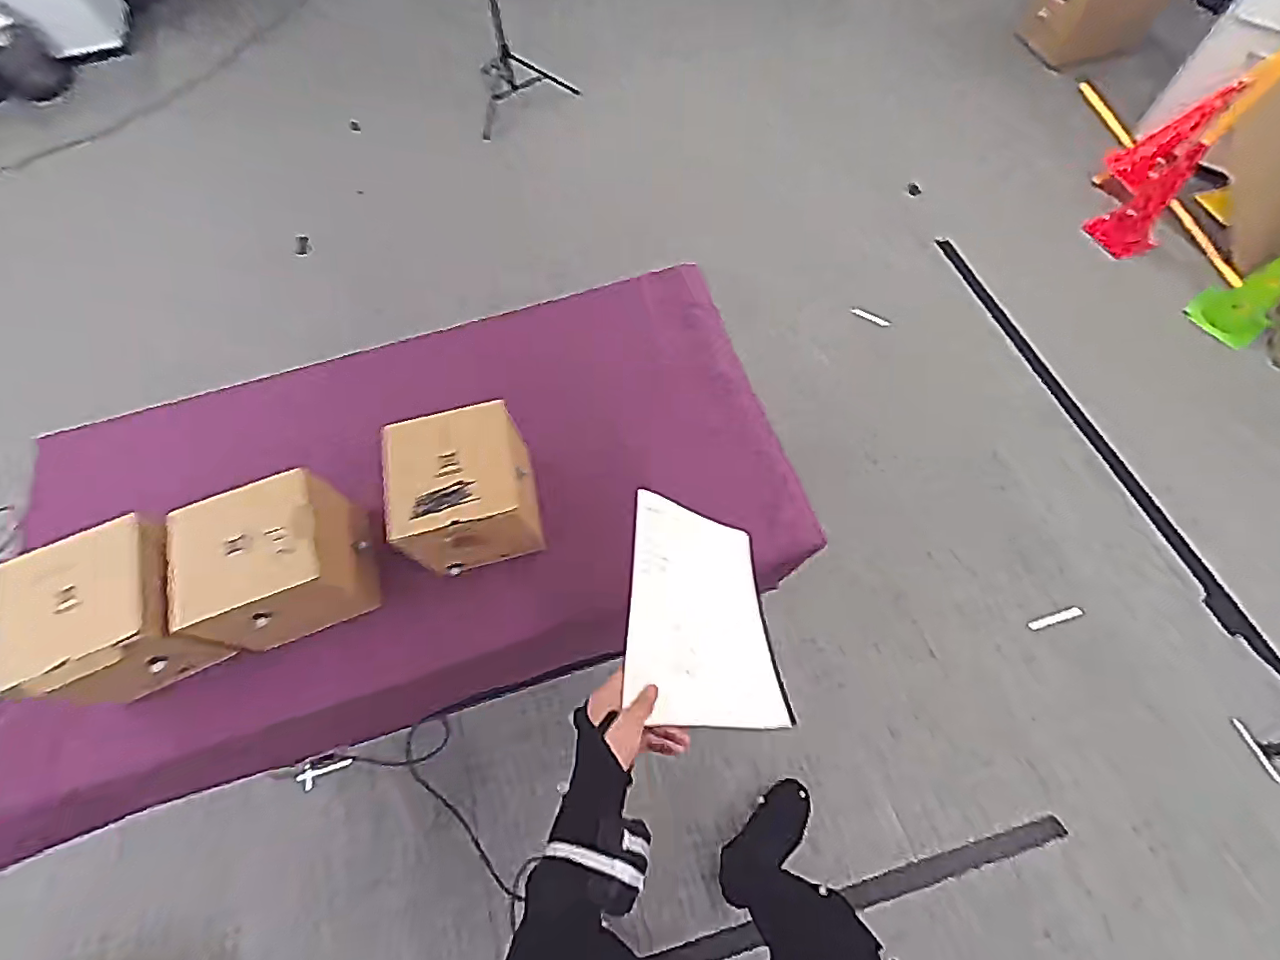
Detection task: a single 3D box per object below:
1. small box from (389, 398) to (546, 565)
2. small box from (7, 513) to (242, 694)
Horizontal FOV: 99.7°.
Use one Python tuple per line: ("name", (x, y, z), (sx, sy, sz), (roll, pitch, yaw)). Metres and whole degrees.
("small box", (-0.243, 0.013, 0.788), (0.168, 0.176, 0.179), (-14, 65, -3))
("small box", (-0.685, 0.176, 0.739), (0.168, 0.176, 0.179), (-23, 66, -9))
